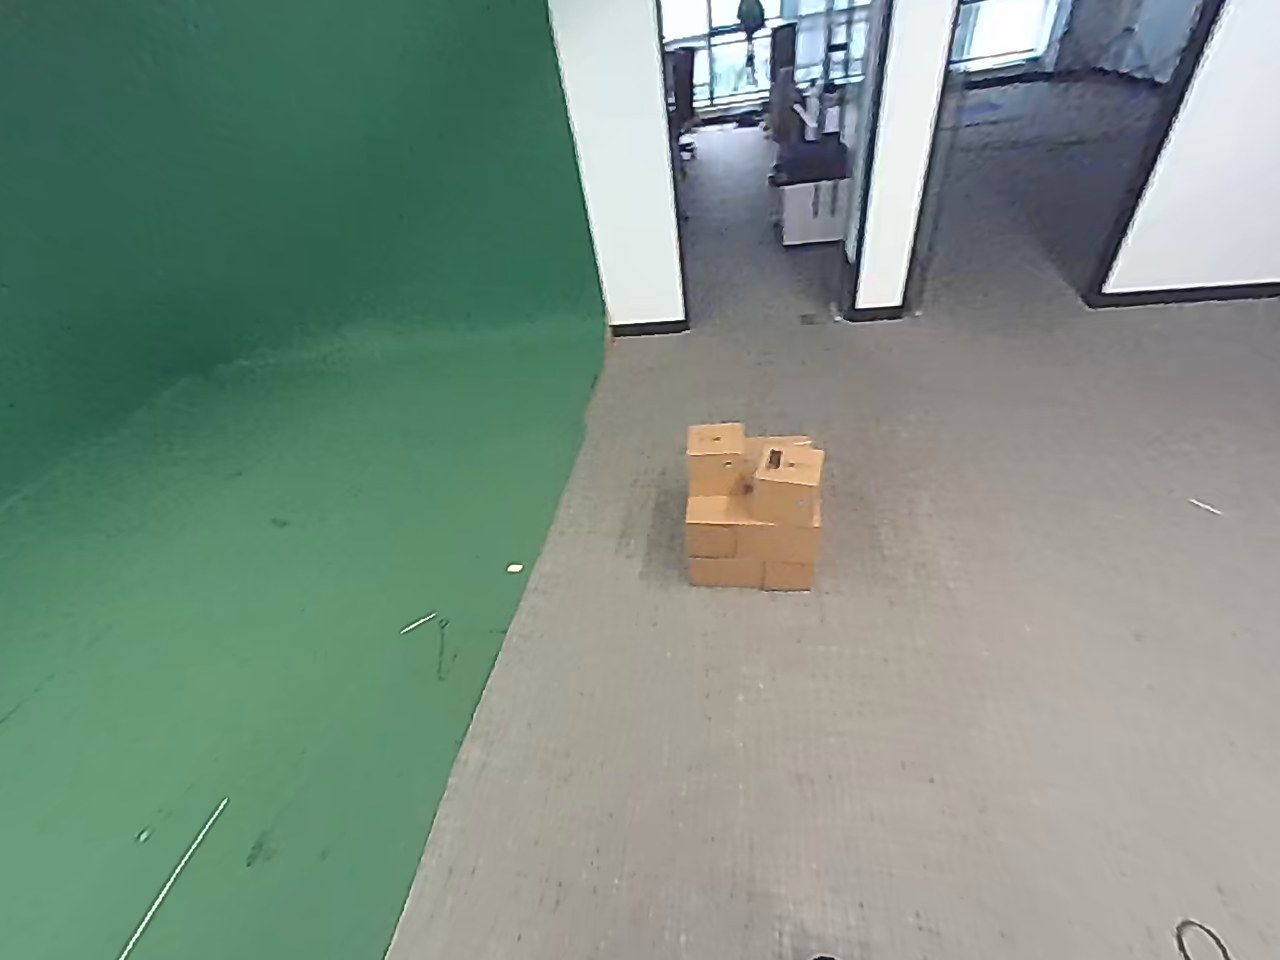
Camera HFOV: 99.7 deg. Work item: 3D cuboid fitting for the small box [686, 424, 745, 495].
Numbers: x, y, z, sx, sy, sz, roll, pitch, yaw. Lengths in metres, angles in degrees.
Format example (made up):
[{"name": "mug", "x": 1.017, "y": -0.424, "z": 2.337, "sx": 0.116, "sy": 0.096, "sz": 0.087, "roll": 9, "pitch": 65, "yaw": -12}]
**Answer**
[{"name": "small box", "x": 0.250, "y": -0.063, "z": 1.750, "sx": 0.179, "sy": 0.176, "sz": 0.168, "roll": -1, "pitch": 39, "yaw": 12}]
